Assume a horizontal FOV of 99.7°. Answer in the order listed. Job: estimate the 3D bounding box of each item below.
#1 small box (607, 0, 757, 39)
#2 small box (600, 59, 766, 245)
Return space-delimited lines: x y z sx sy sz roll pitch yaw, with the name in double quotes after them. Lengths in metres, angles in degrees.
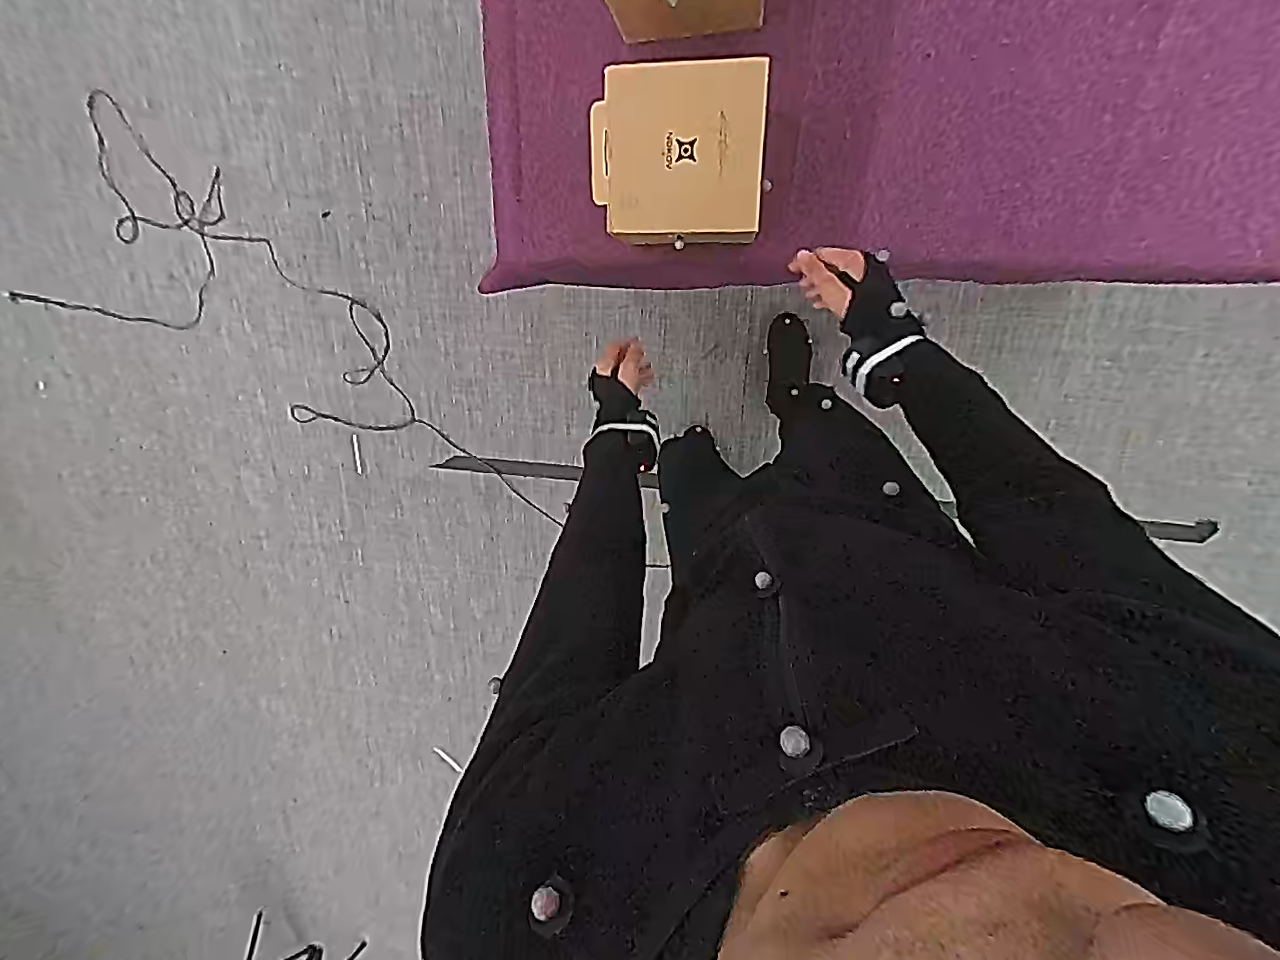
0.044 -0.612 0.584 0.179 0.176 0.168 1 110 9 "small box"
0.055 -0.384 0.664 0.179 0.176 0.168 3 110 8 "small box"
